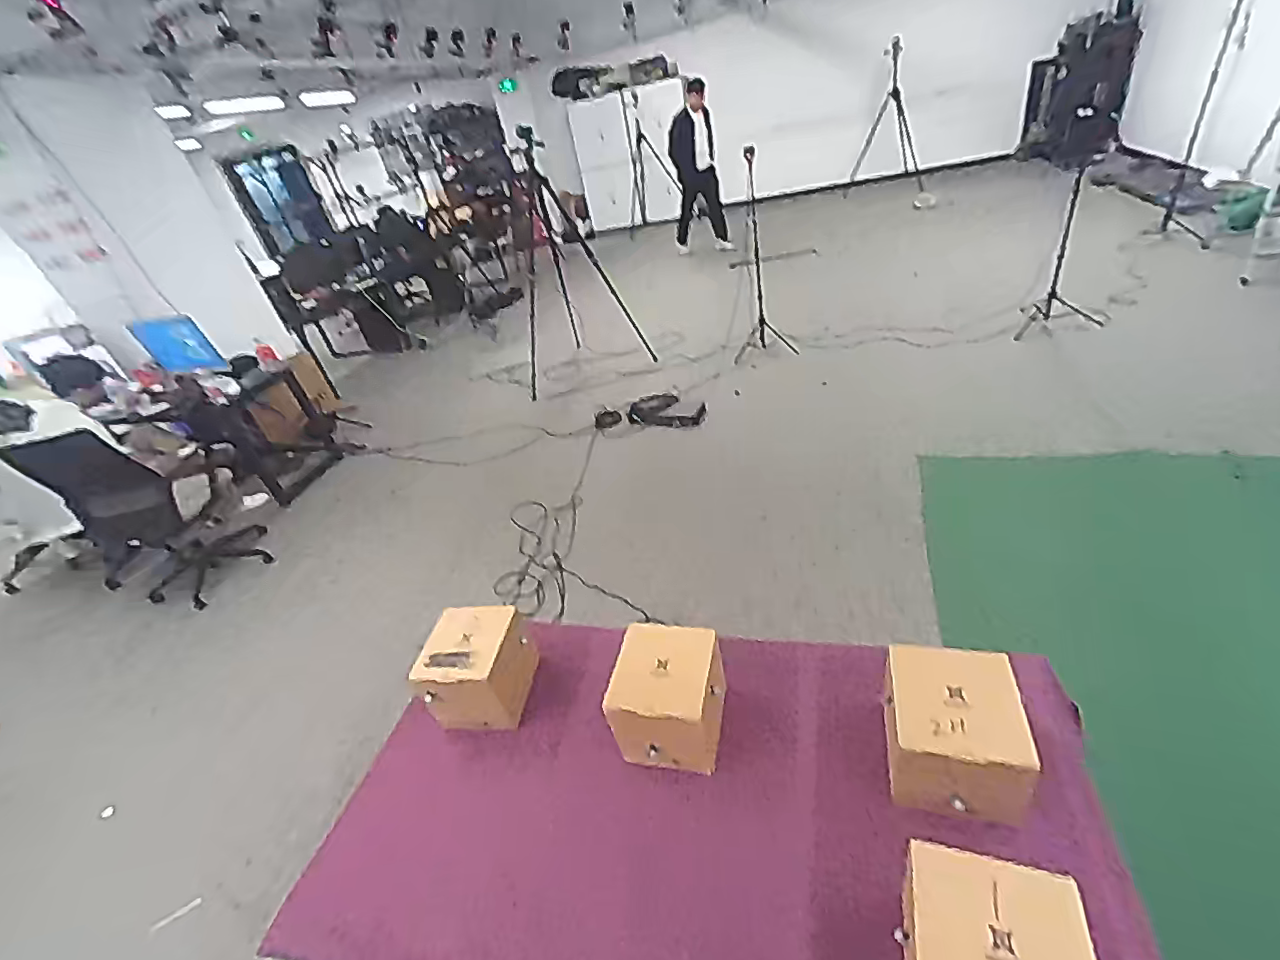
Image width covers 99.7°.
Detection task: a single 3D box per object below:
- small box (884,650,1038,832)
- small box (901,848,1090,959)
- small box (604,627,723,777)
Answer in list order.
[{"bbox_3d":[0.468,0.389,0.819,0.168,0.176,0.179,0,37,20],"label":"small box"},{"bbox_3d":[0.386,0.560,0.598,0.168,0.176,0.179,2,35,23],"label":"small box"},{"bbox_3d":[0.052,0.391,0.964,0.168,0.176,0.179,0,37,18],"label":"small box"}]
